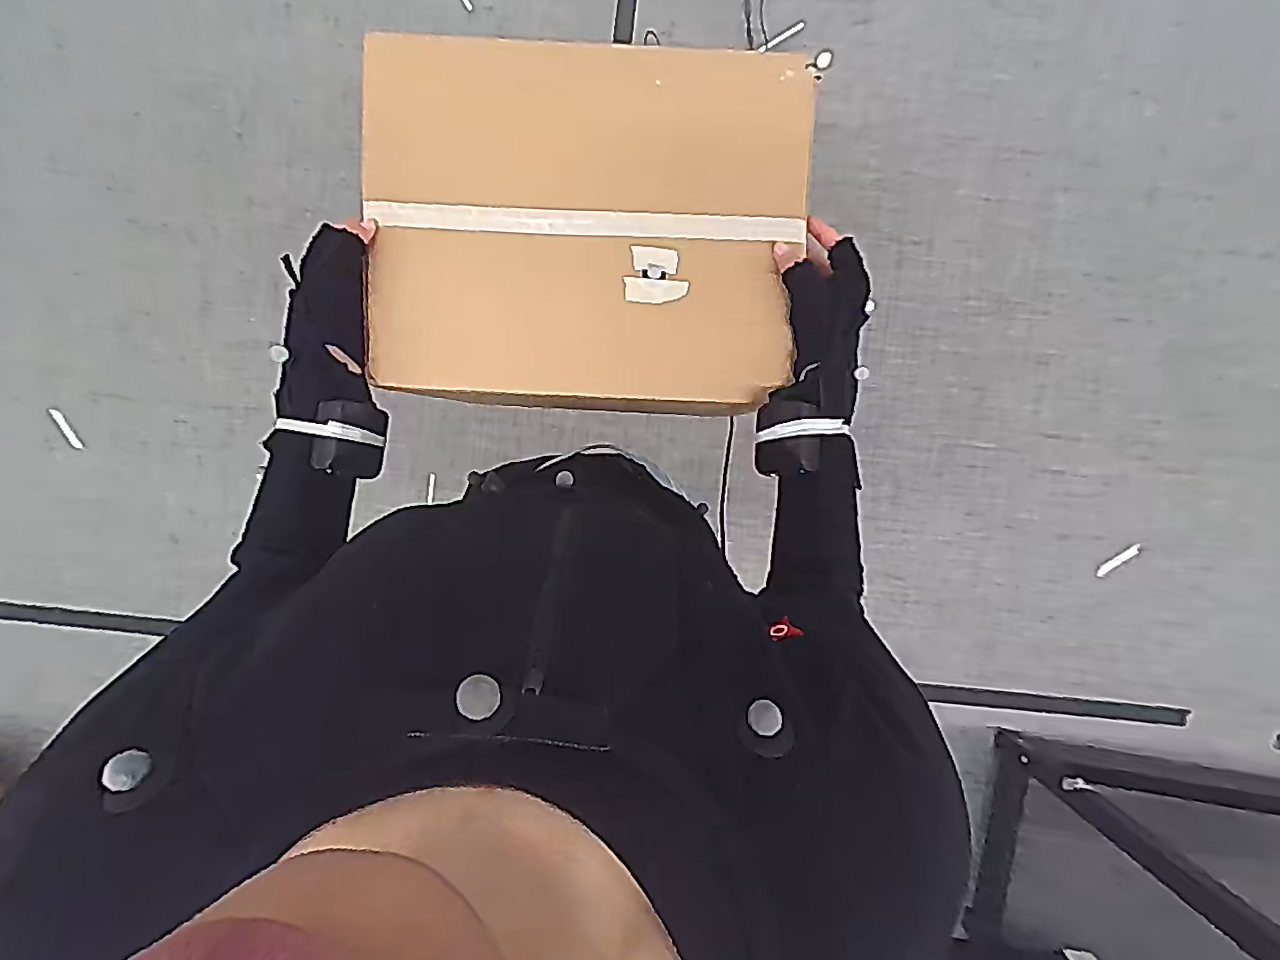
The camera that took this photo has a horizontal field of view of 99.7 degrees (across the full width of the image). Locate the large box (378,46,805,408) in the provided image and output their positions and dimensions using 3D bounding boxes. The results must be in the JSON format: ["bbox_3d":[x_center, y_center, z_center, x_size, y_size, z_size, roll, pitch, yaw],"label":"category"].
[{"bbox_3d":[-0.052,-0.255,0.662,0.408,0.320,0.320,3,96,-1],"label":"large box"}]
